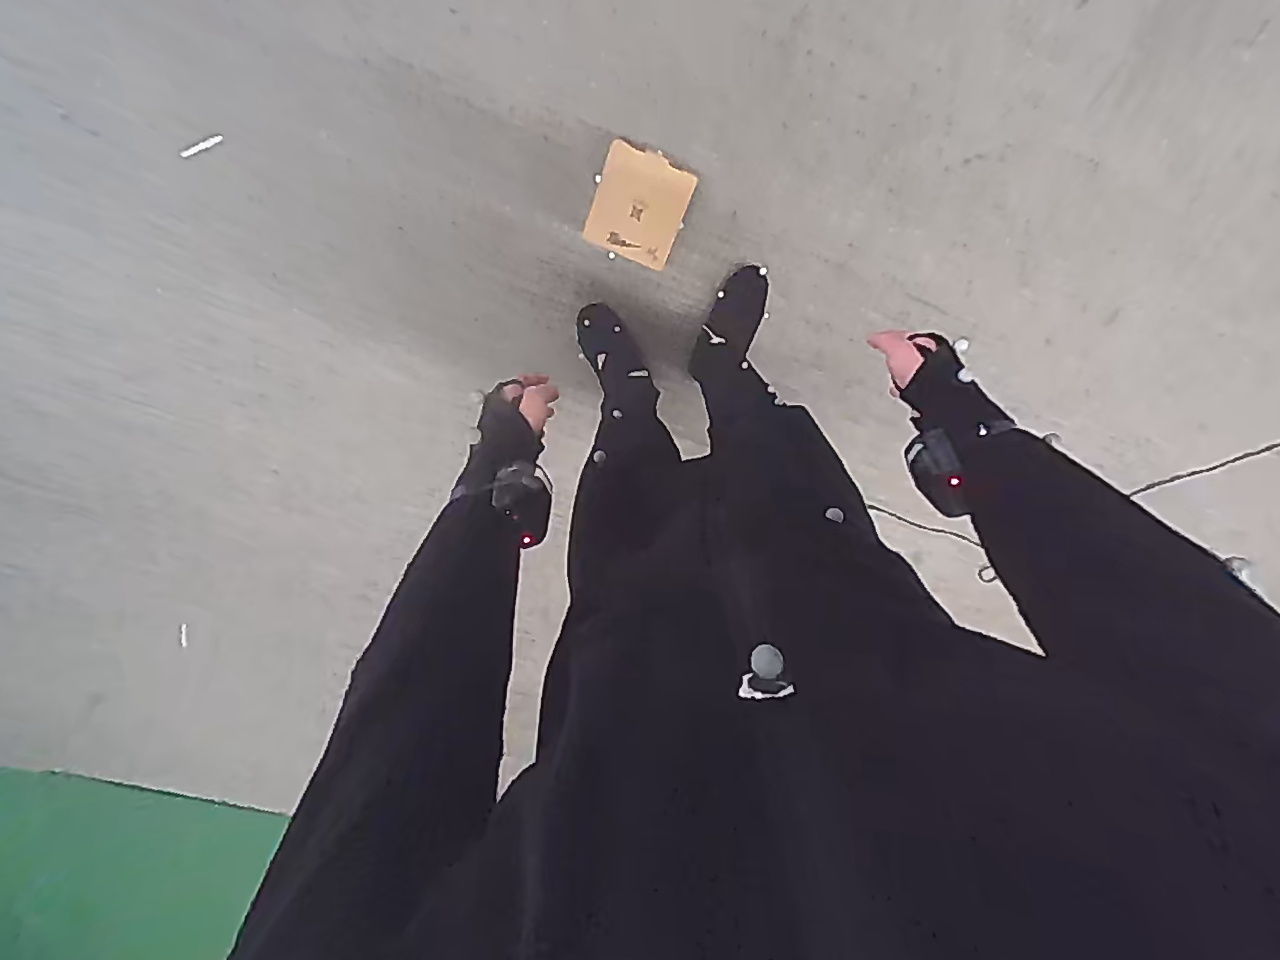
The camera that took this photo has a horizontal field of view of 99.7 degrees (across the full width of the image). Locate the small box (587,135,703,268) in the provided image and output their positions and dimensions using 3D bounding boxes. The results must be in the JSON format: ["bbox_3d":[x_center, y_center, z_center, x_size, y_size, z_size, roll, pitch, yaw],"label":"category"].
[{"bbox_3d":[0.008,-0.542,1.064,0.168,0.176,0.179,21,116,-8],"label":"small box"}]
